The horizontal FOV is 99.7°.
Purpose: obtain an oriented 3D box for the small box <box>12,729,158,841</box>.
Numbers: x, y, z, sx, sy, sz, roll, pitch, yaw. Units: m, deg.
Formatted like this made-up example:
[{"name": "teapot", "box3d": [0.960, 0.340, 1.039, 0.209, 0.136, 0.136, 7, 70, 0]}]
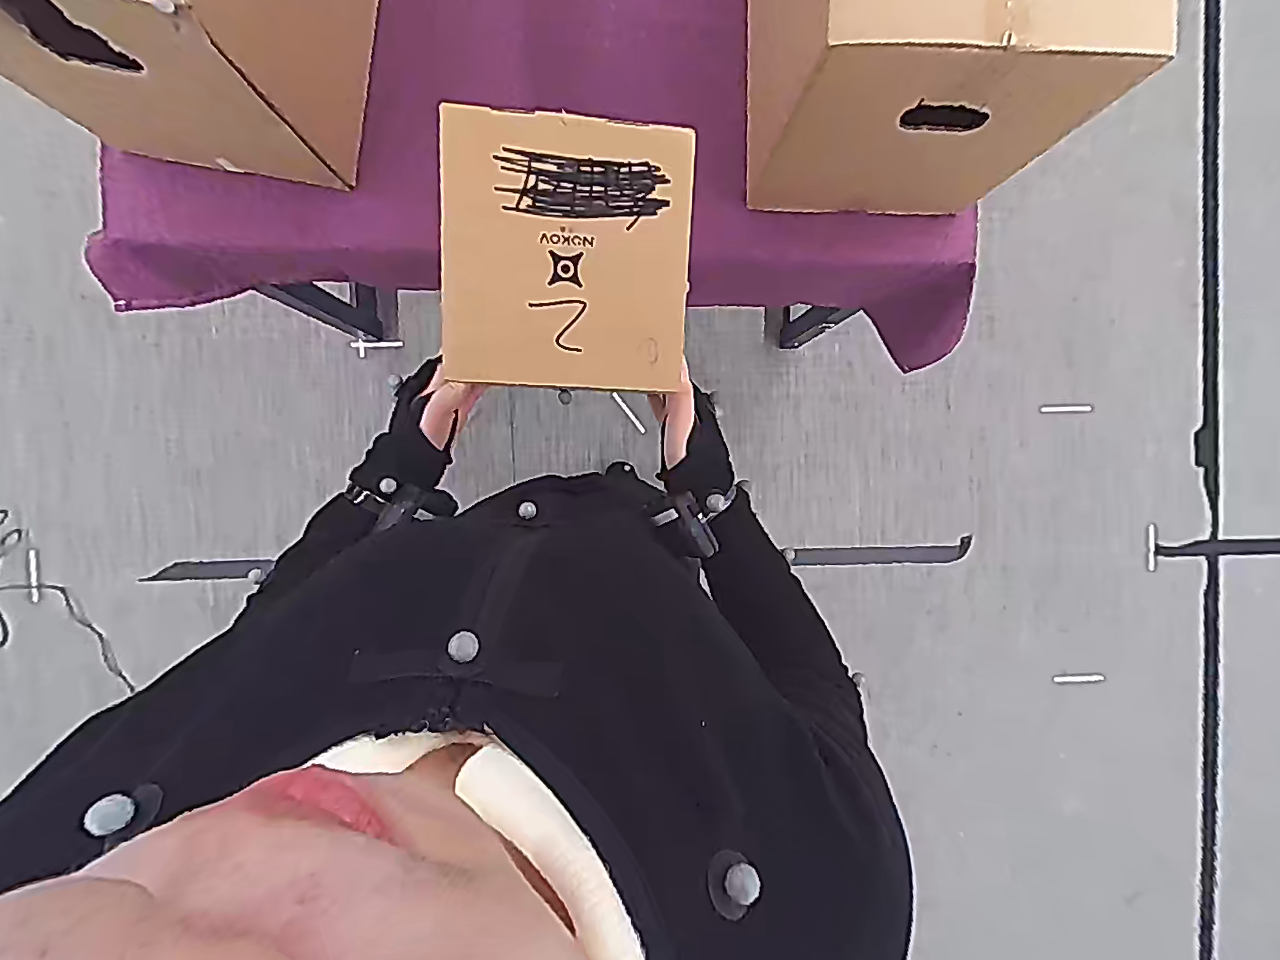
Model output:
[{"name": "small box", "box3d": [-1.384, 0.757, 1.349, 0.168, 0.176, 0.179, -2, 112, 15]}]
